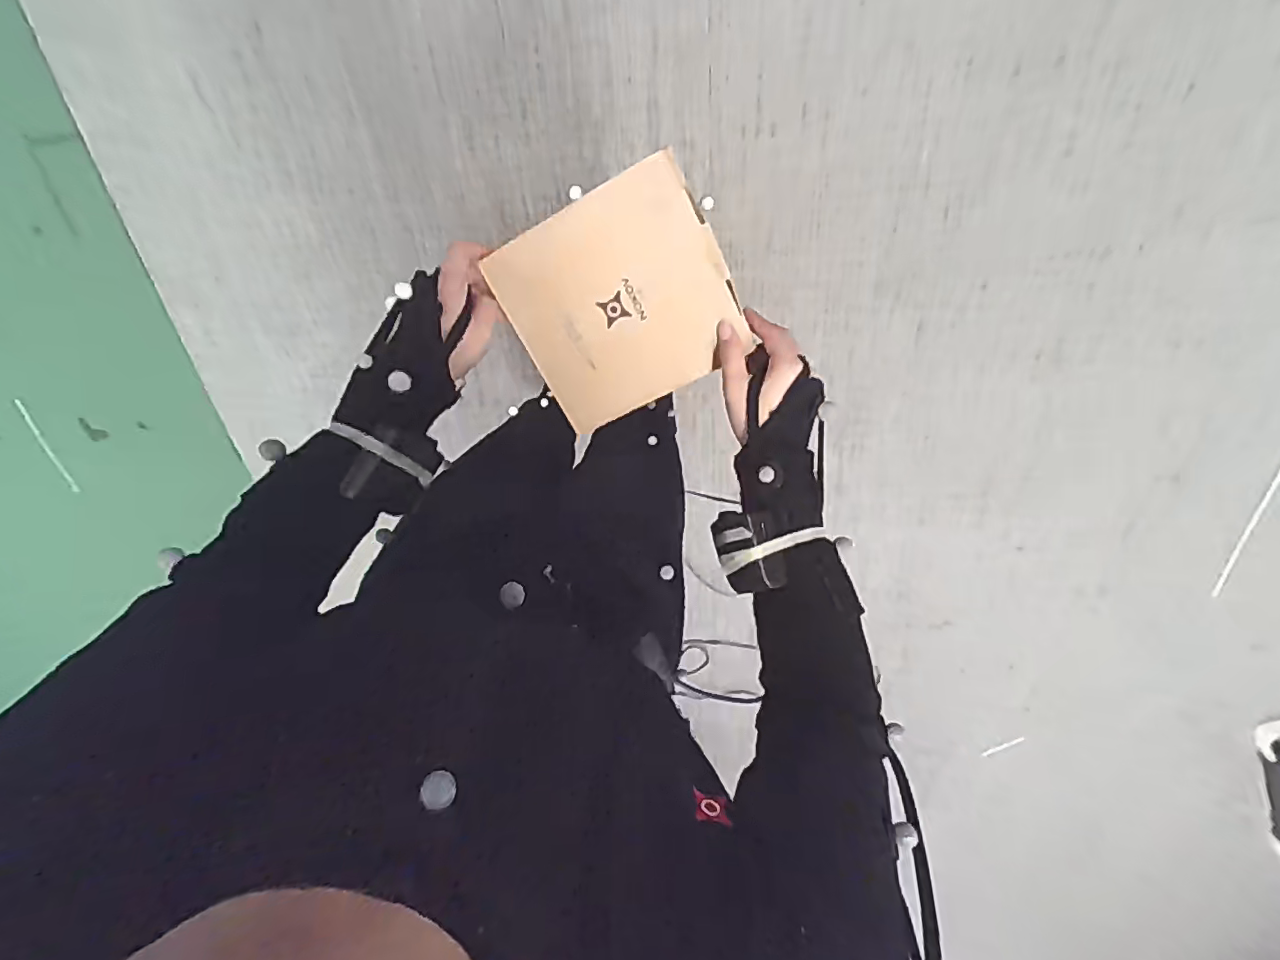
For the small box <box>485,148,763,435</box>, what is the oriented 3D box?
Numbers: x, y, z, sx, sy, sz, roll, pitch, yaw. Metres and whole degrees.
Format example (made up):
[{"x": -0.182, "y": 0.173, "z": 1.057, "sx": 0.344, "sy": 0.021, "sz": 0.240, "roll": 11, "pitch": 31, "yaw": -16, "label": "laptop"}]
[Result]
[{"x": -0.006, "y": -0.173, "z": 0.505, "sx": 0.179, "sy": 0.176, "sz": 0.168, "roll": -25, "pitch": 109, "yaw": 17, "label": "small box"}]
